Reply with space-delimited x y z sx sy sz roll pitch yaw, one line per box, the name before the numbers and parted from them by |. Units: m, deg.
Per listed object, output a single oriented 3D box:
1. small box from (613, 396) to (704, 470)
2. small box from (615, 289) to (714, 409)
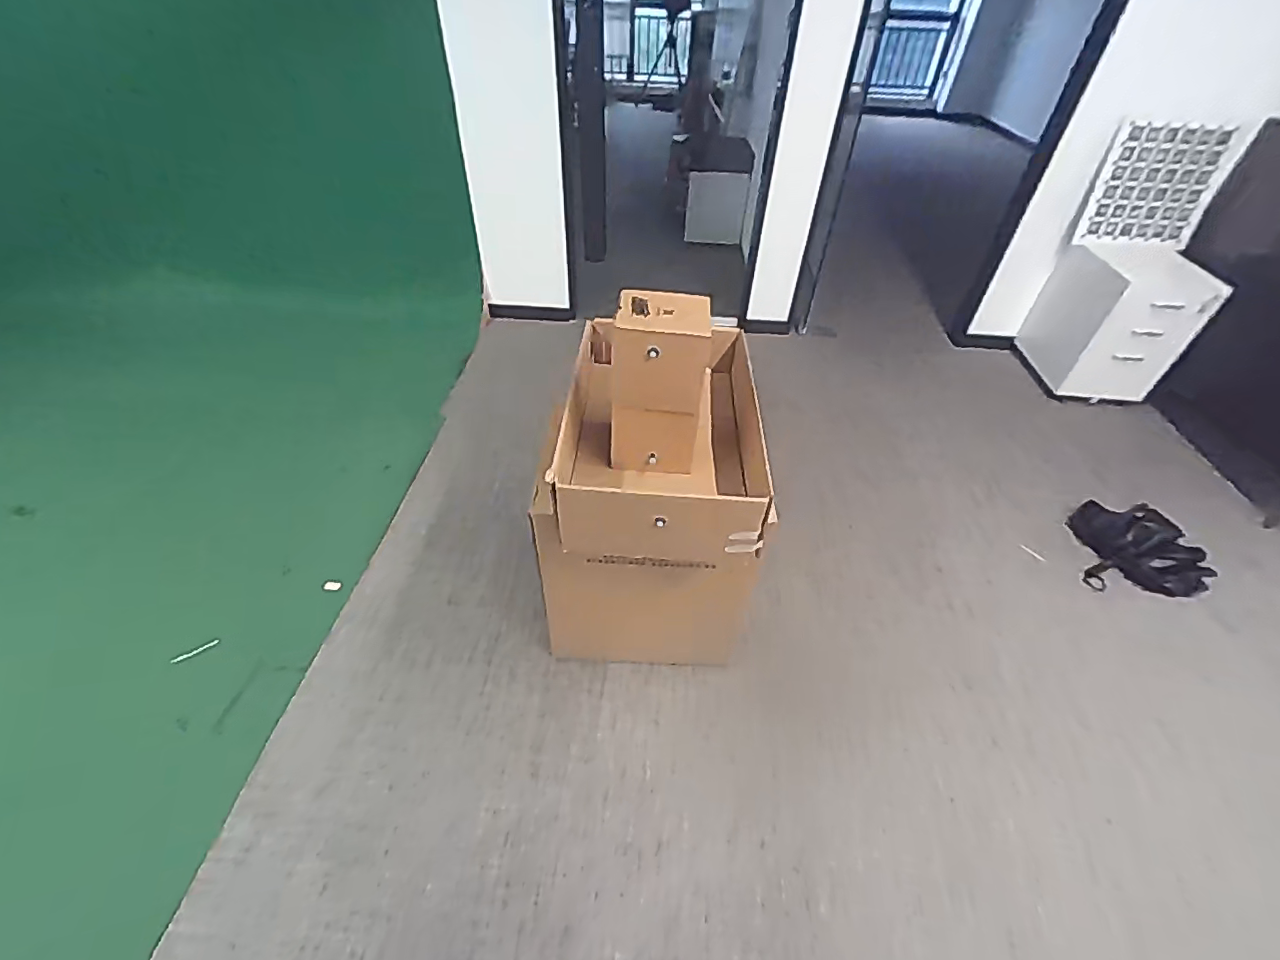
small box | 0.038 -0.137 1.171 0.179 0.176 0.168 5 42 -1
small box | 0.047 -0.255 1.057 0.179 0.176 0.168 6 43 1
